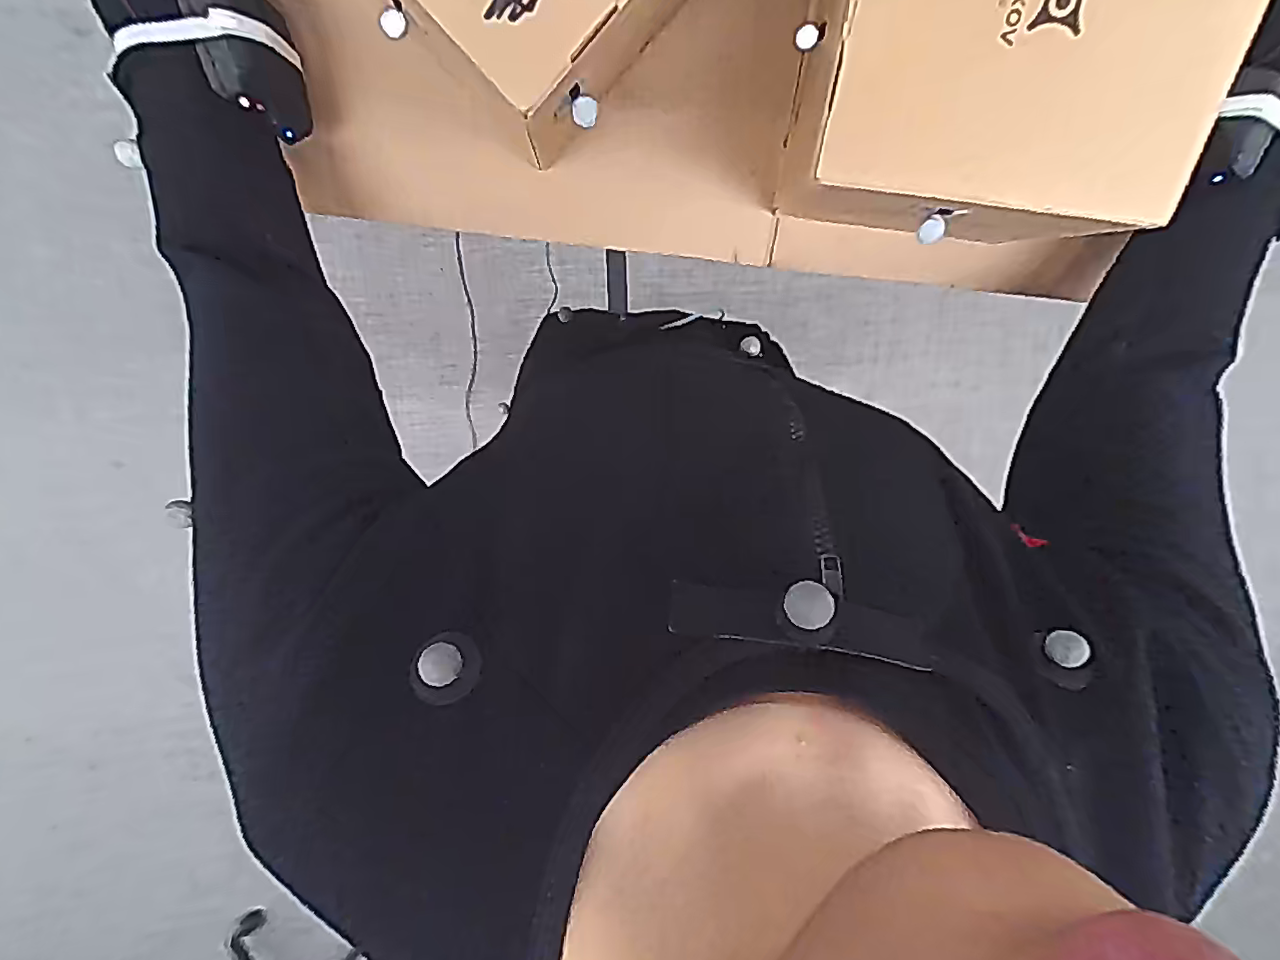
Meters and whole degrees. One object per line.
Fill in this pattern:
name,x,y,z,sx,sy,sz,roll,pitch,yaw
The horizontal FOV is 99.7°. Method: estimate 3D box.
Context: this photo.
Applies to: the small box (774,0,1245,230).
small box,0.189,-0.248,0.317,0.179,0.176,0.168,10,112,4
